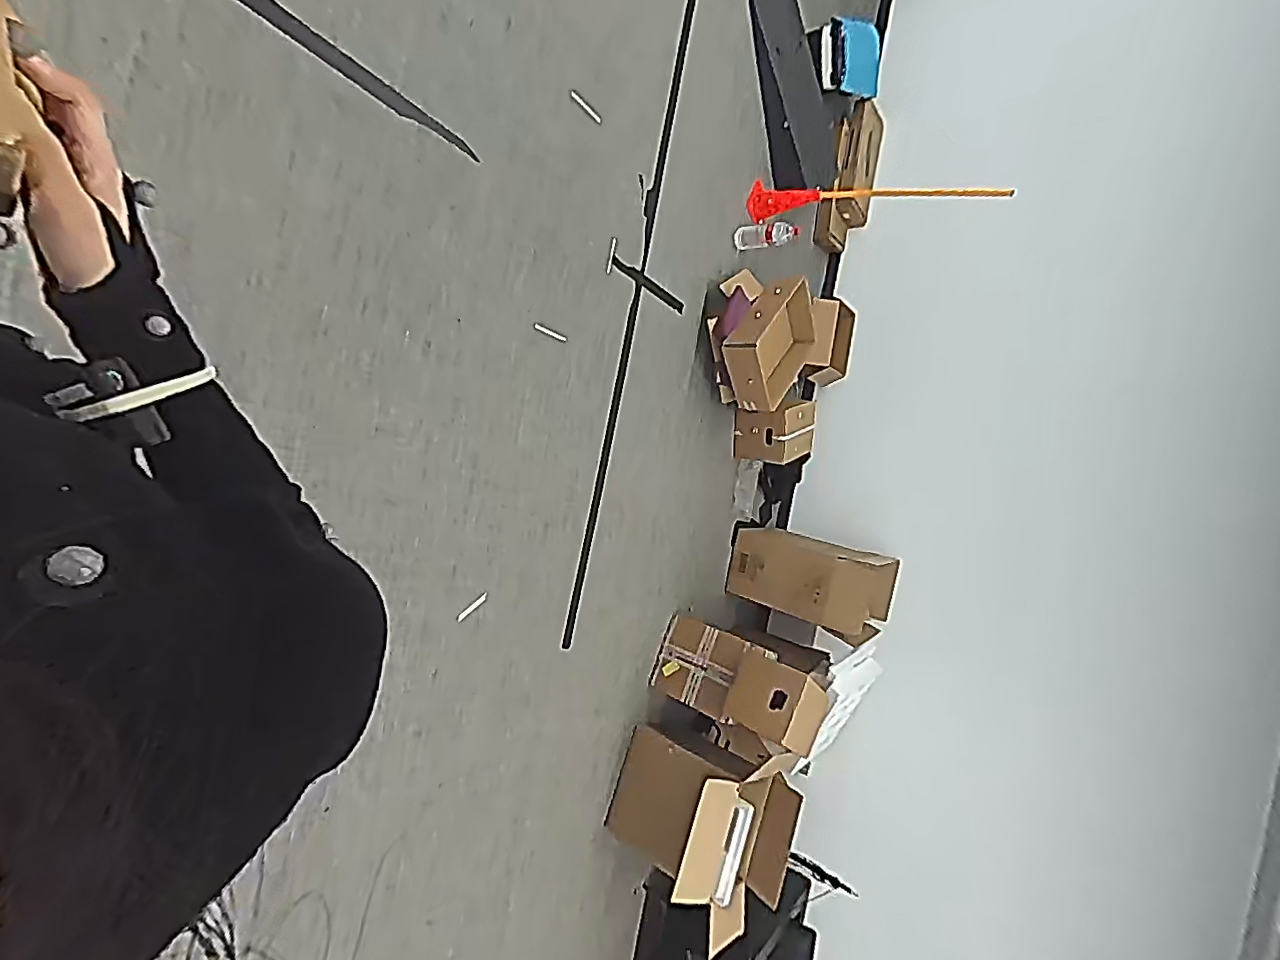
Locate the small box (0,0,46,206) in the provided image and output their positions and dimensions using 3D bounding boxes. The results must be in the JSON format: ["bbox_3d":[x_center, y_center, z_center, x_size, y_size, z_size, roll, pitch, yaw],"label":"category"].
[{"bbox_3d":[-0.370,-0.228,0.215,0.168,0.176,0.179,-10,107,-50],"label":"small box"}]
